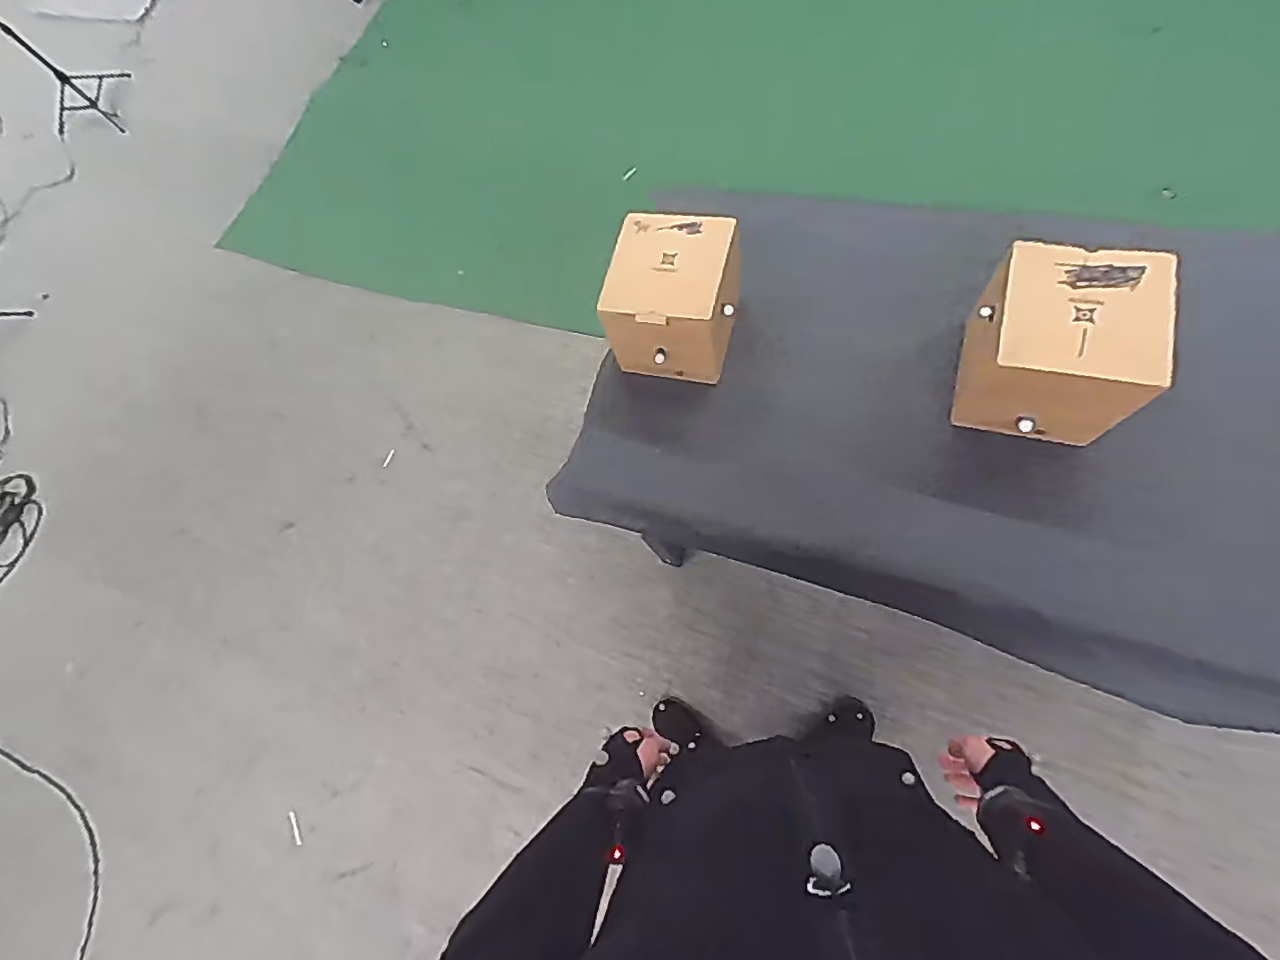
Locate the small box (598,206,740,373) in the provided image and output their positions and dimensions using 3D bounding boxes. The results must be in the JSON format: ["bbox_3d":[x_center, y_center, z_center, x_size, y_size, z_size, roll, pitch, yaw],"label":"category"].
[{"bbox_3d":[0.055,-0.283,0.827,0.168,0.176,0.179,12,75,16],"label":"small box"}]

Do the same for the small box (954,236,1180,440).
[{"bbox_3d":[0.521,-0.172,0.683,0.168,0.176,0.179,14,76,17],"label":"small box"}]
